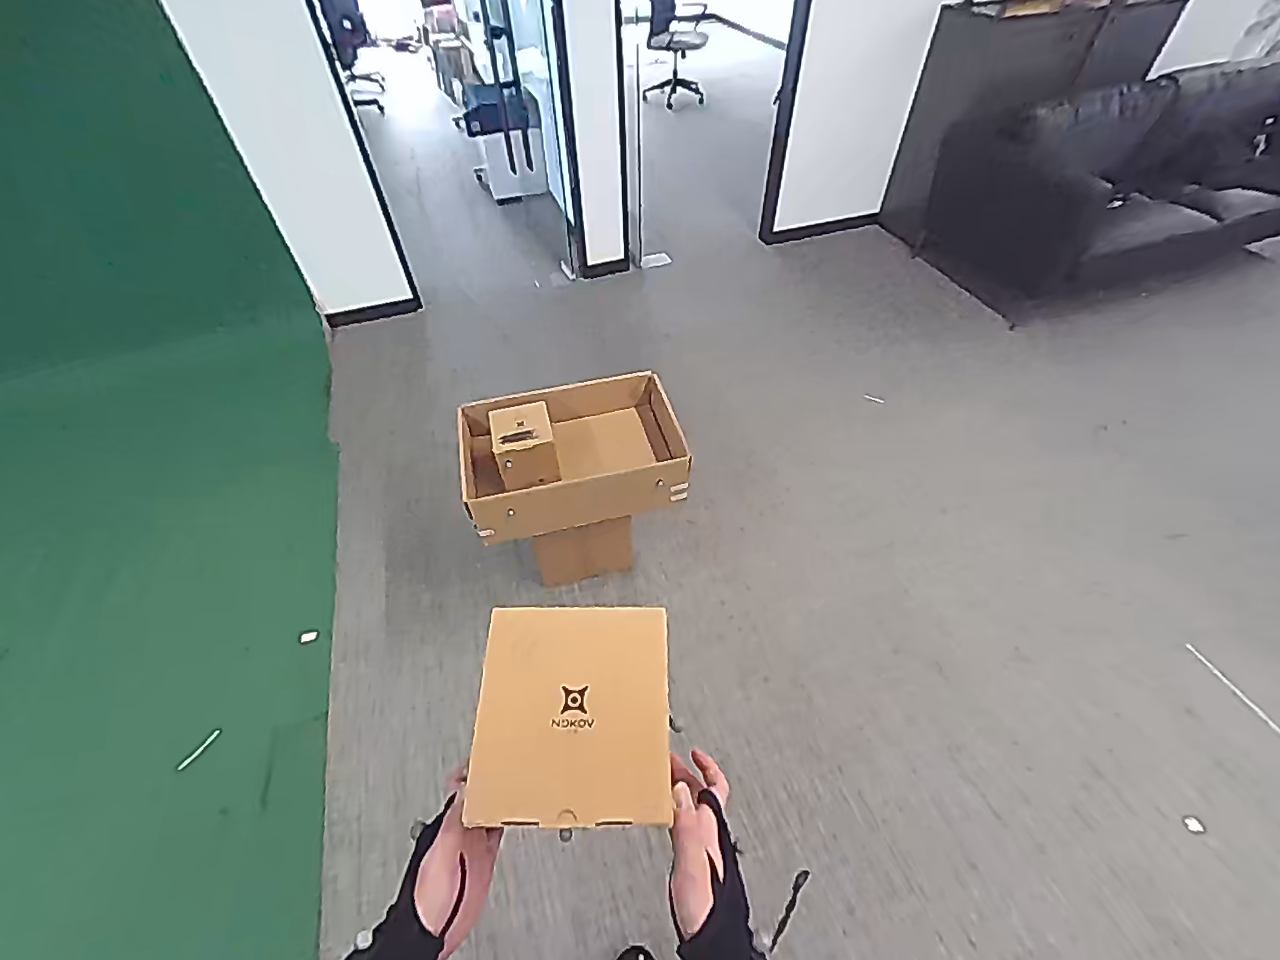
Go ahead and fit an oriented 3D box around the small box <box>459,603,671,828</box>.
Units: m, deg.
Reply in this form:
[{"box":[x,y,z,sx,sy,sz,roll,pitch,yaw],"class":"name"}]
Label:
[{"box":[-0.059,0.231,0.523,0.168,0.176,0.179,0,59,-1],"class":"small box"}]
